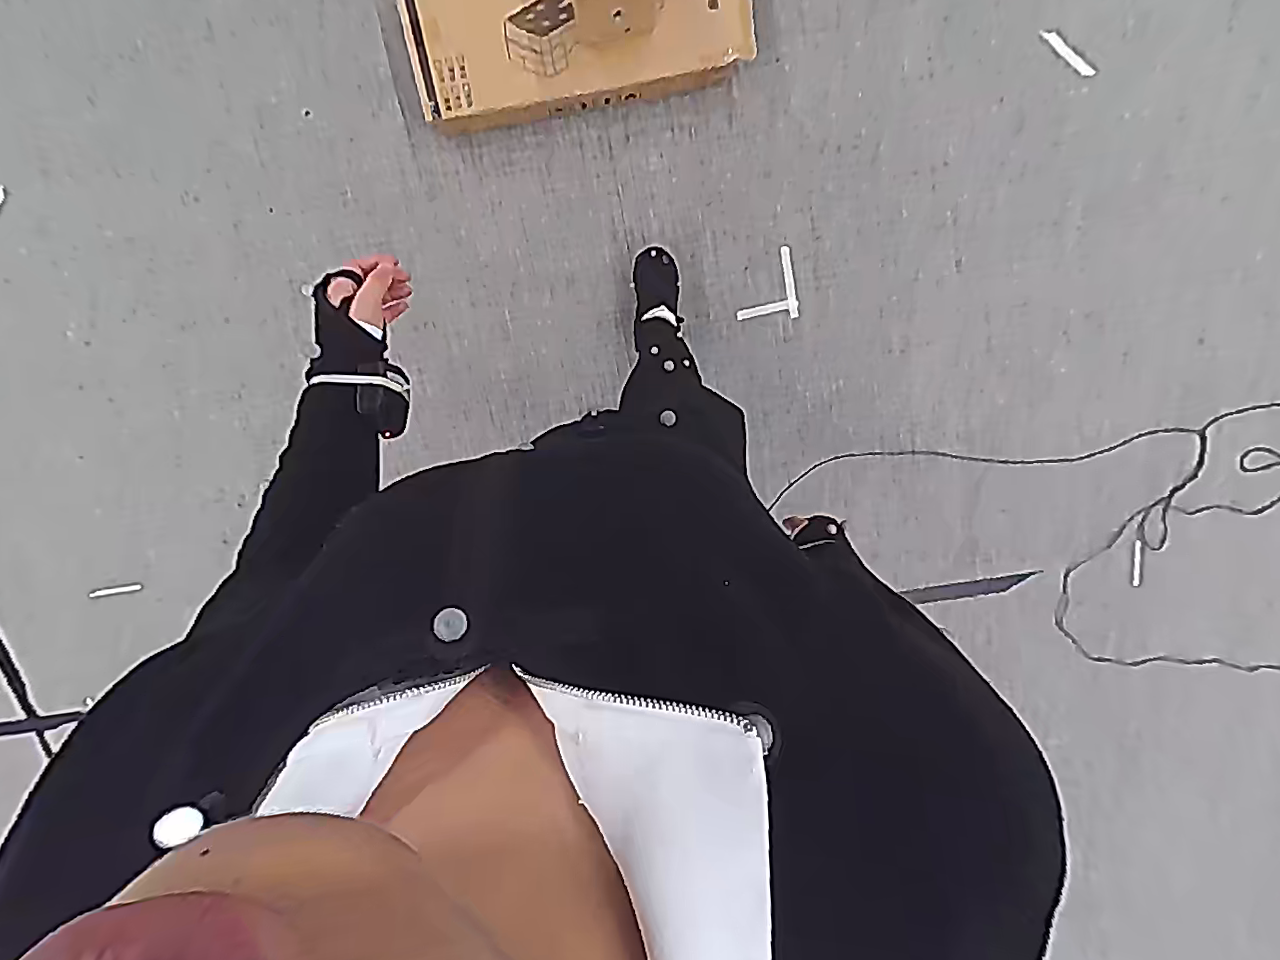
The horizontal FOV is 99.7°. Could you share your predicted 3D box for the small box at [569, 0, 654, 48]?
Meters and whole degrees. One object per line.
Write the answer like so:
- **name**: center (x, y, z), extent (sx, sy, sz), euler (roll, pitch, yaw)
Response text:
- **small box**: center (-0.065, -0.996, 1.065), extent (0.168, 0.176, 0.179), euler (-12, 103, 2)
